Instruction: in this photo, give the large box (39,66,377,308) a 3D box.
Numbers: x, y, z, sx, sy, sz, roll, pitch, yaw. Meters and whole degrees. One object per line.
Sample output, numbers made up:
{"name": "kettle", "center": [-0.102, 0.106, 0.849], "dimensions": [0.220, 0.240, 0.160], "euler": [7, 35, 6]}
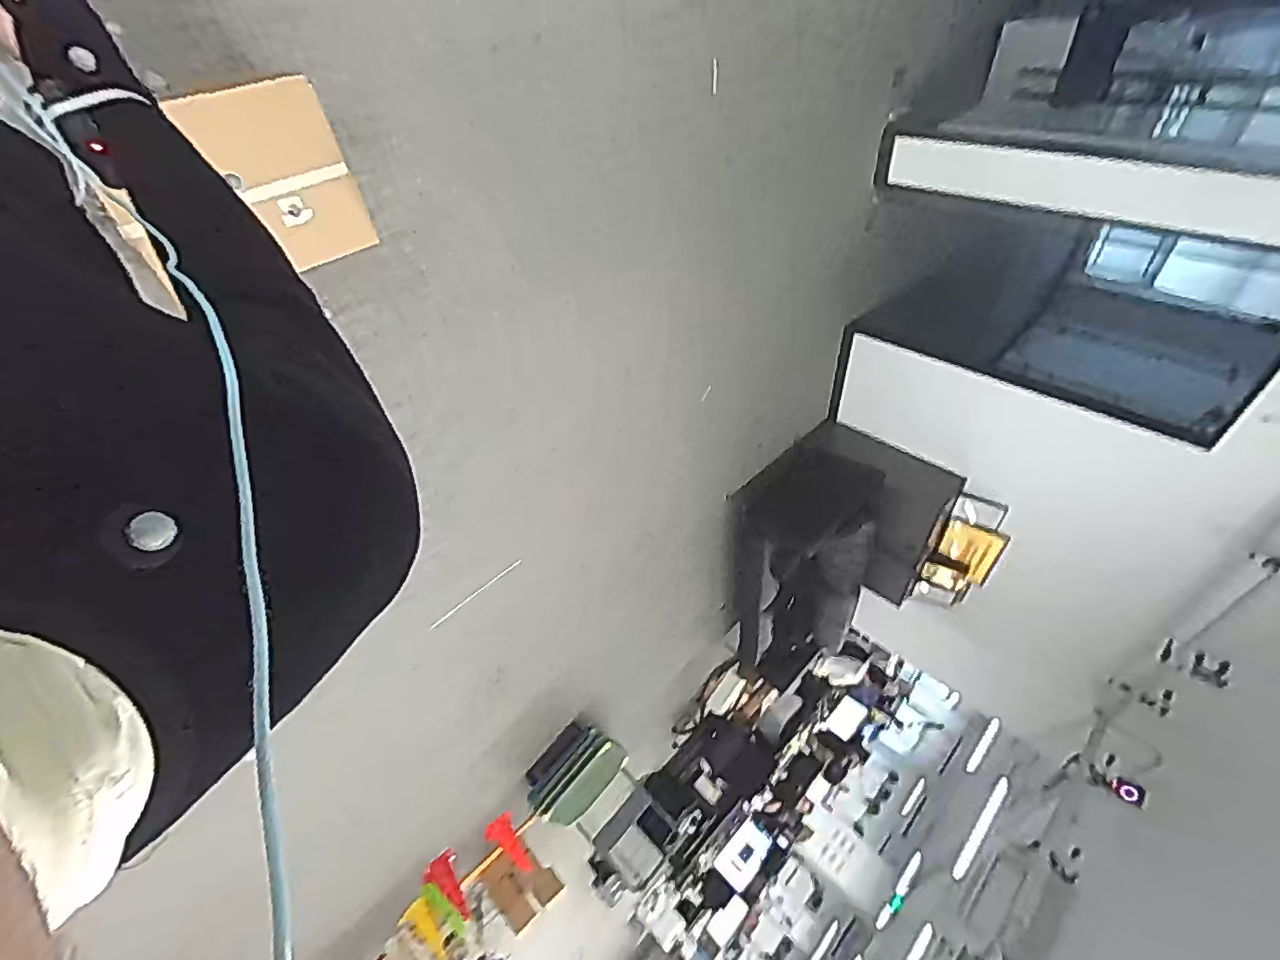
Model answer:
{"name": "large box", "center": [-0.845, -0.606, 1.094], "dimensions": [0.408, 0.320, 0.320], "euler": [-38, 142, -26]}
